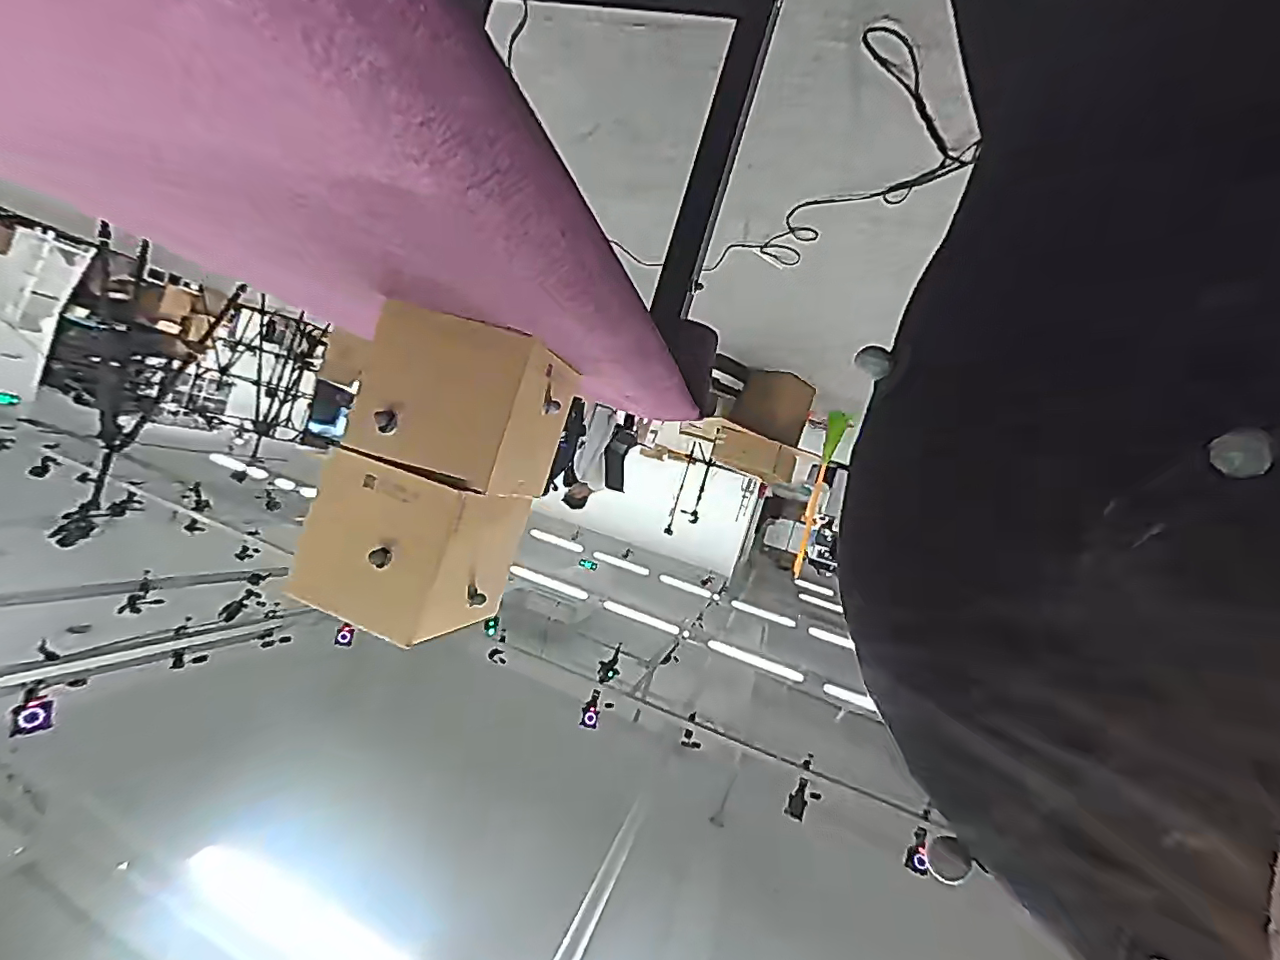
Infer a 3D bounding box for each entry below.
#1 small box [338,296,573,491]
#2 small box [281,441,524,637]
[{"bbox_3d":[-0.199,-0.094,0.626,0.179,0.176,0.168,17,180,9],"label":"small box"},{"bbox_3d":[-0.259,0.058,0.625,0.168,0.176,0.179,17,180,13],"label":"small box"}]
